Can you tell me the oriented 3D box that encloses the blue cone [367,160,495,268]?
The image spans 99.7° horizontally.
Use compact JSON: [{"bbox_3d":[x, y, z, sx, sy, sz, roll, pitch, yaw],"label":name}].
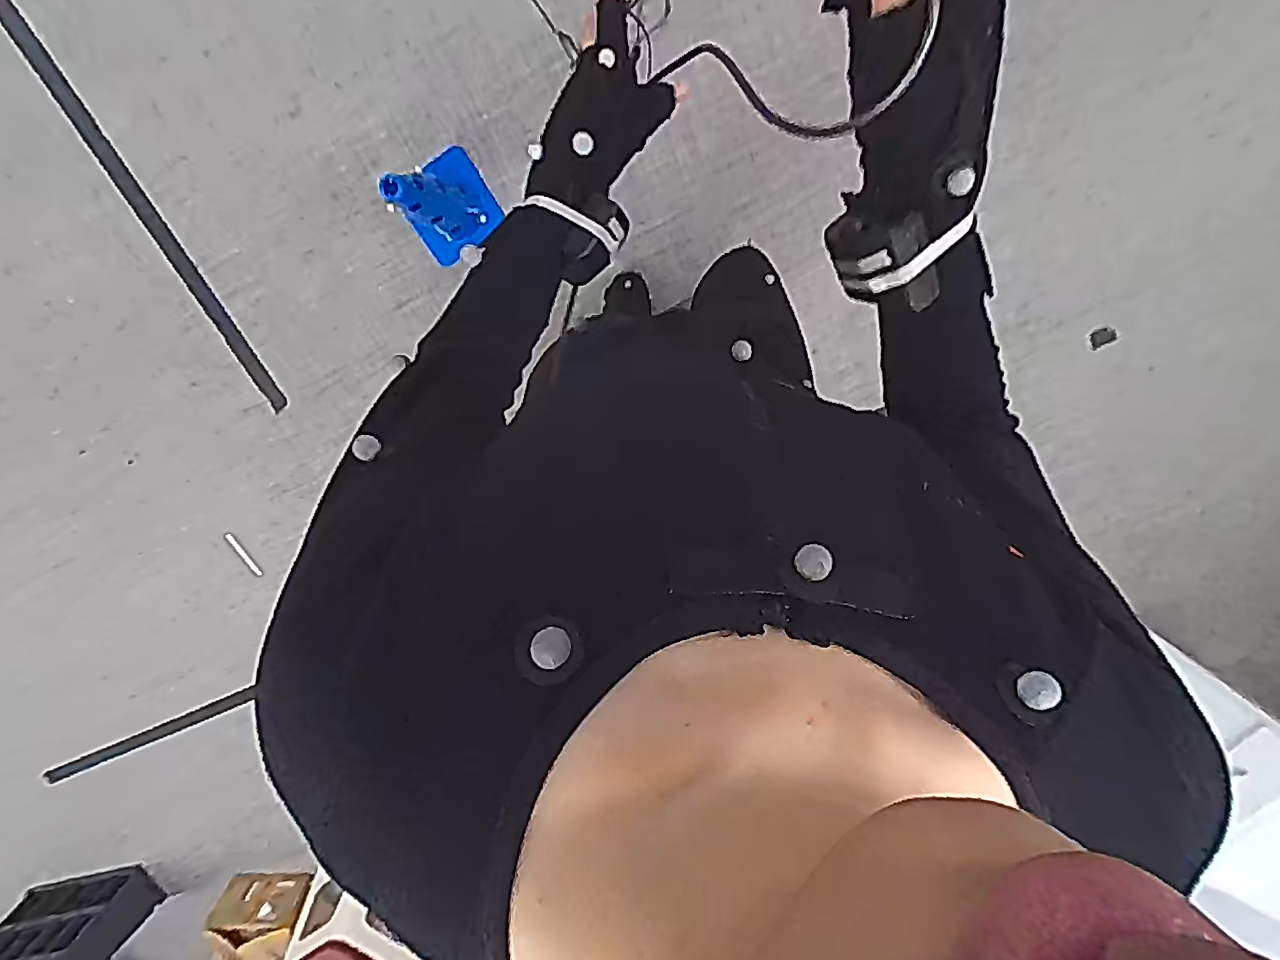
[{"bbox_3d":[-0.451,-0.559,1.109,0.192,0.380,0.193,-28,109,10],"label":"blue cone"}]
